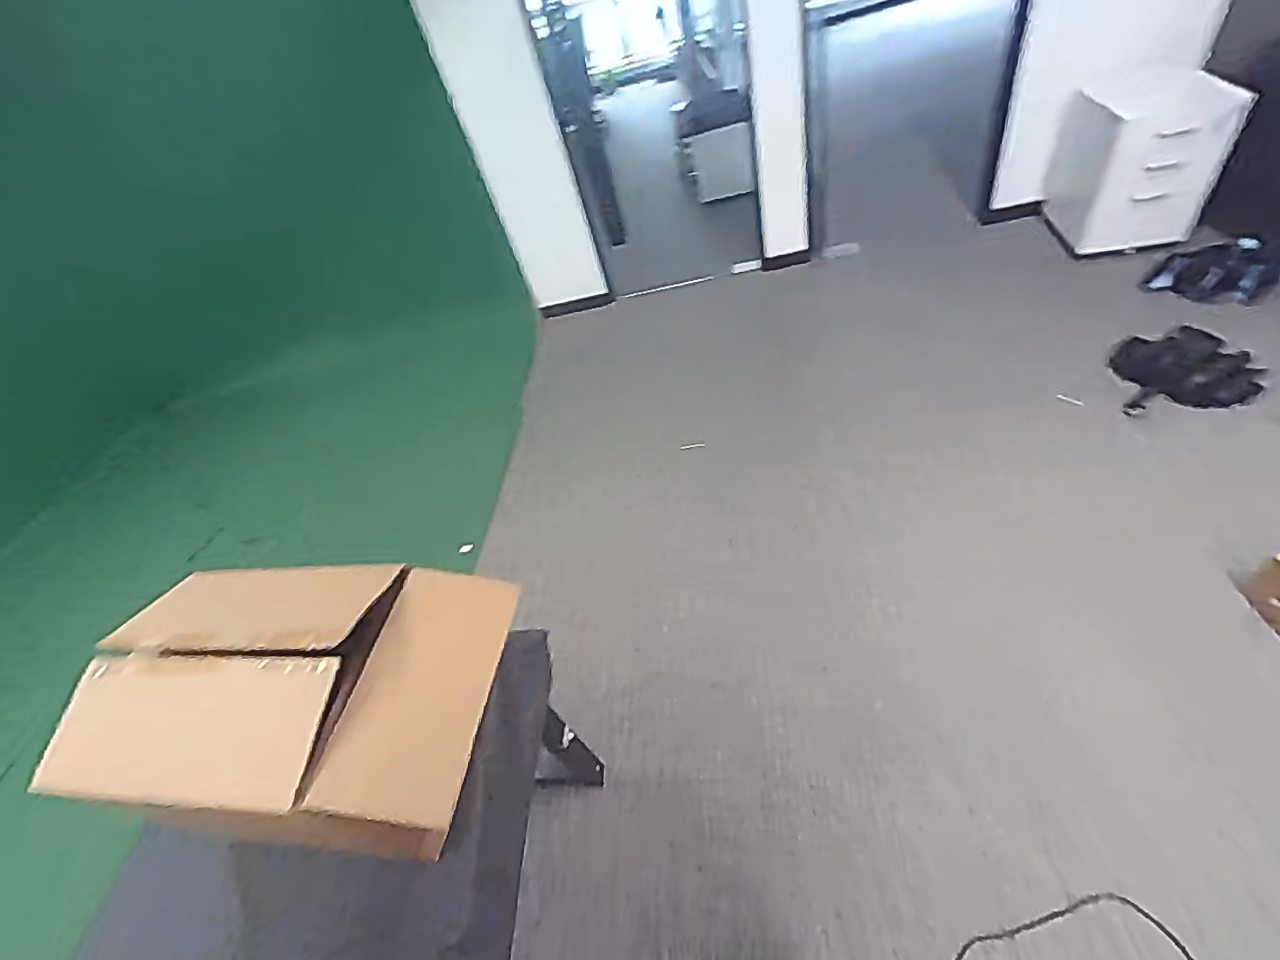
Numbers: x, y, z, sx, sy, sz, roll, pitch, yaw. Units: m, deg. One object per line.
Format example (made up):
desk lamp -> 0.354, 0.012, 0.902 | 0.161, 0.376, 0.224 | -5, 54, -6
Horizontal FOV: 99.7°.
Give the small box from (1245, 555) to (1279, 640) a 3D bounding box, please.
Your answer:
small box -> 1.634, 0.286, 1.301 | 0.179, 0.176, 0.168 | -10, 45, 10
